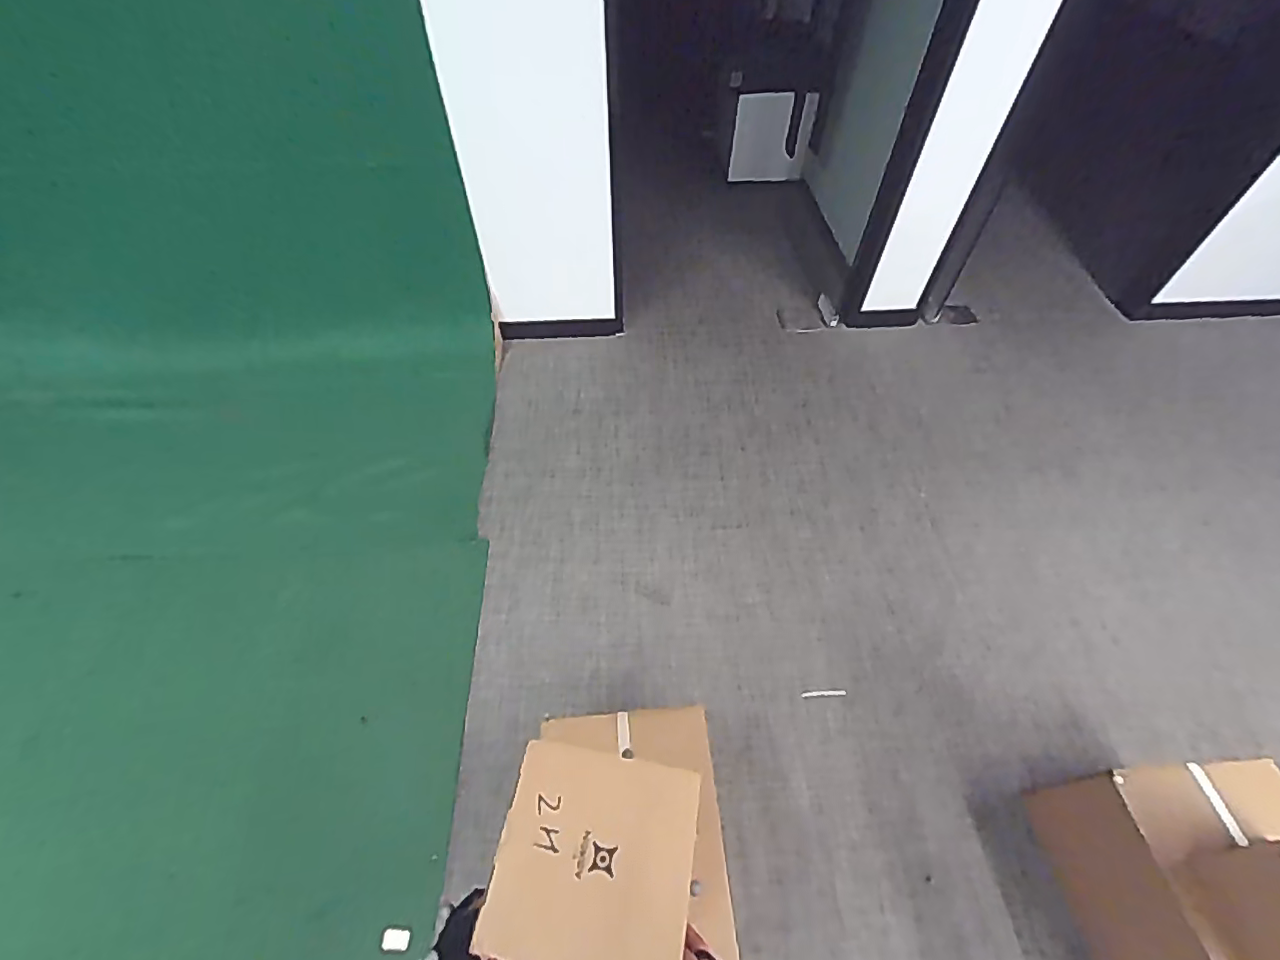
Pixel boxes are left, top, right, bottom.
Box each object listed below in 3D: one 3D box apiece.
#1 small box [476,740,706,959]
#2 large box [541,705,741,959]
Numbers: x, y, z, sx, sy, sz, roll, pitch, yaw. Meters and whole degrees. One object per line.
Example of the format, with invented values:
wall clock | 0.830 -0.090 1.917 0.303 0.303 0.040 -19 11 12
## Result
small box | -0.035 0.384 0.547 0.179 0.176 0.168 8 53 8
large box | -0.014 0.692 1.028 0.320 0.320 0.408 -3 52 -3
